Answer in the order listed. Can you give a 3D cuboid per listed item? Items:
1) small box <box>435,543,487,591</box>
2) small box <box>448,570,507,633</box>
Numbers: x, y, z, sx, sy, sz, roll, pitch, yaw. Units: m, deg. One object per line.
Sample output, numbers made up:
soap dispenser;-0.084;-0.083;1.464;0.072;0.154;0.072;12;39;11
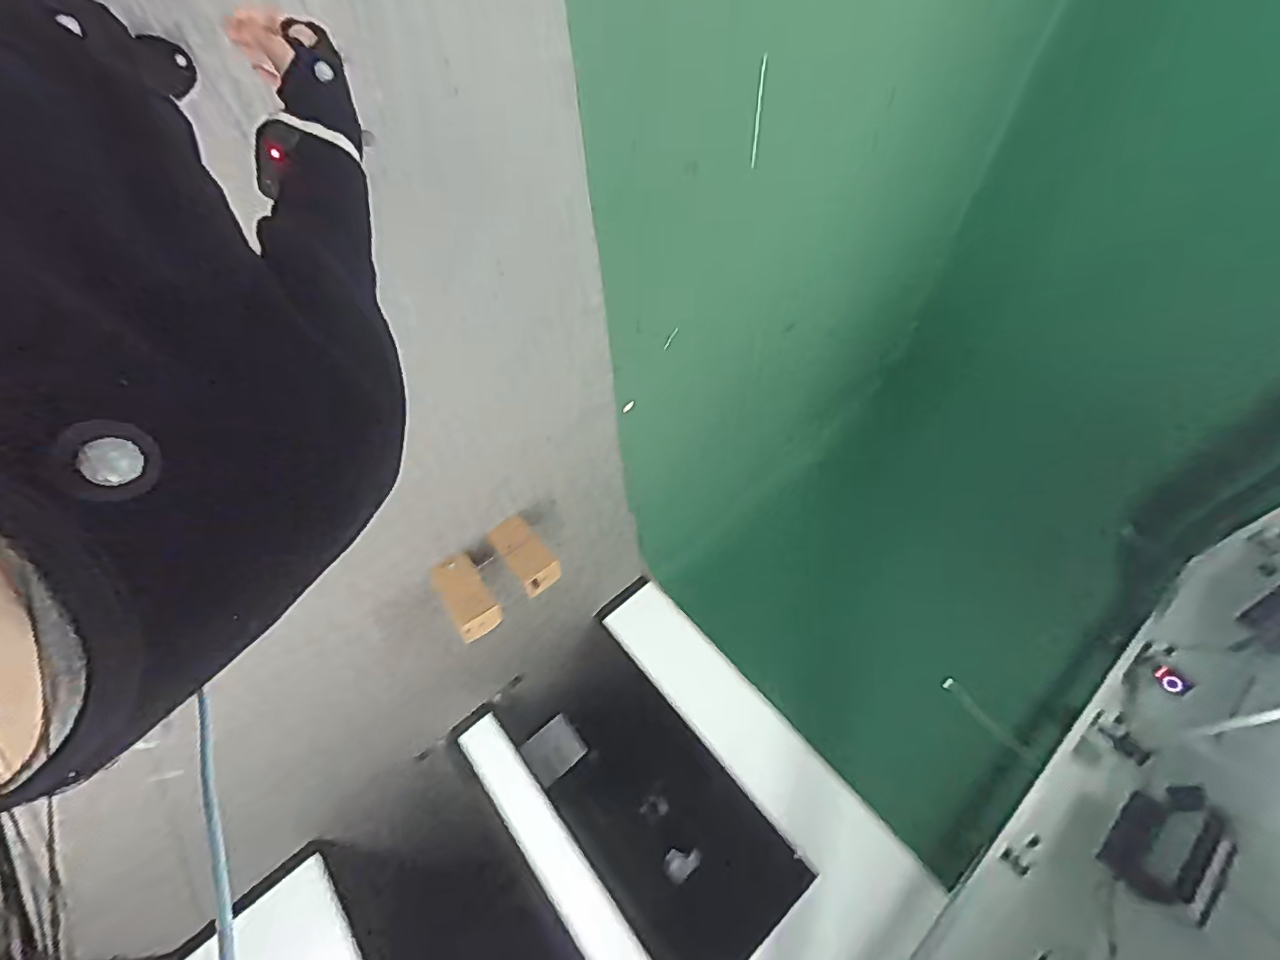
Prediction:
small box;-0.803;0.420;2.448;0.168;0.176;0.179;-31;148;-28
small box;-0.708;0.526;2.362;0.179;0.176;0.168;-32;148;-28
